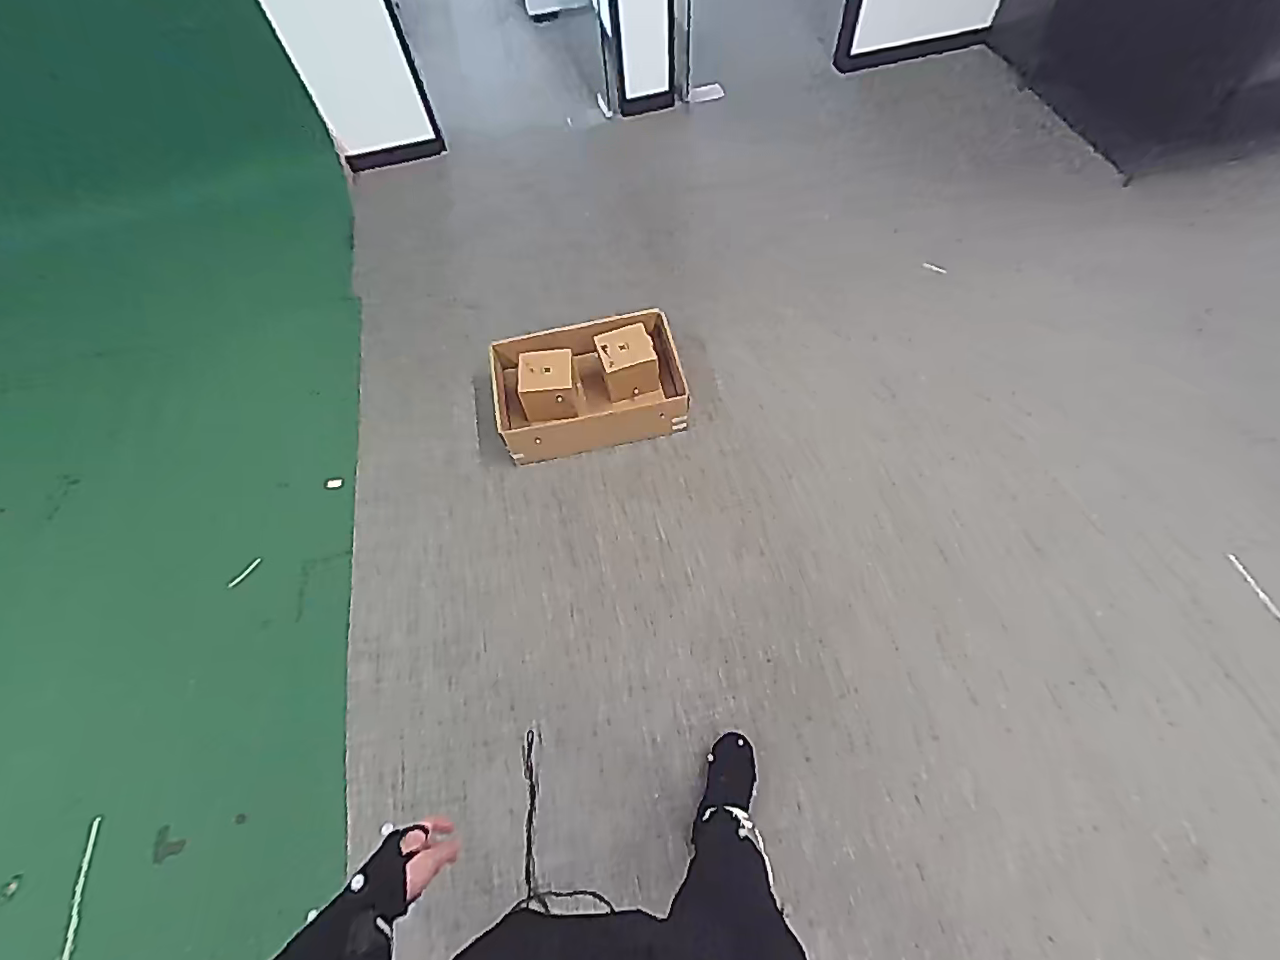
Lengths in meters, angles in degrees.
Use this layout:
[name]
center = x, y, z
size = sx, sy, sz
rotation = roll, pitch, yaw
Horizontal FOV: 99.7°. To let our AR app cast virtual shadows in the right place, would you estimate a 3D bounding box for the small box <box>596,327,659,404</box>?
[small box]
center = -0.039, -0.385, 1.836
size = 0.179, 0.176, 0.168
rotation = -17, 62, -4
